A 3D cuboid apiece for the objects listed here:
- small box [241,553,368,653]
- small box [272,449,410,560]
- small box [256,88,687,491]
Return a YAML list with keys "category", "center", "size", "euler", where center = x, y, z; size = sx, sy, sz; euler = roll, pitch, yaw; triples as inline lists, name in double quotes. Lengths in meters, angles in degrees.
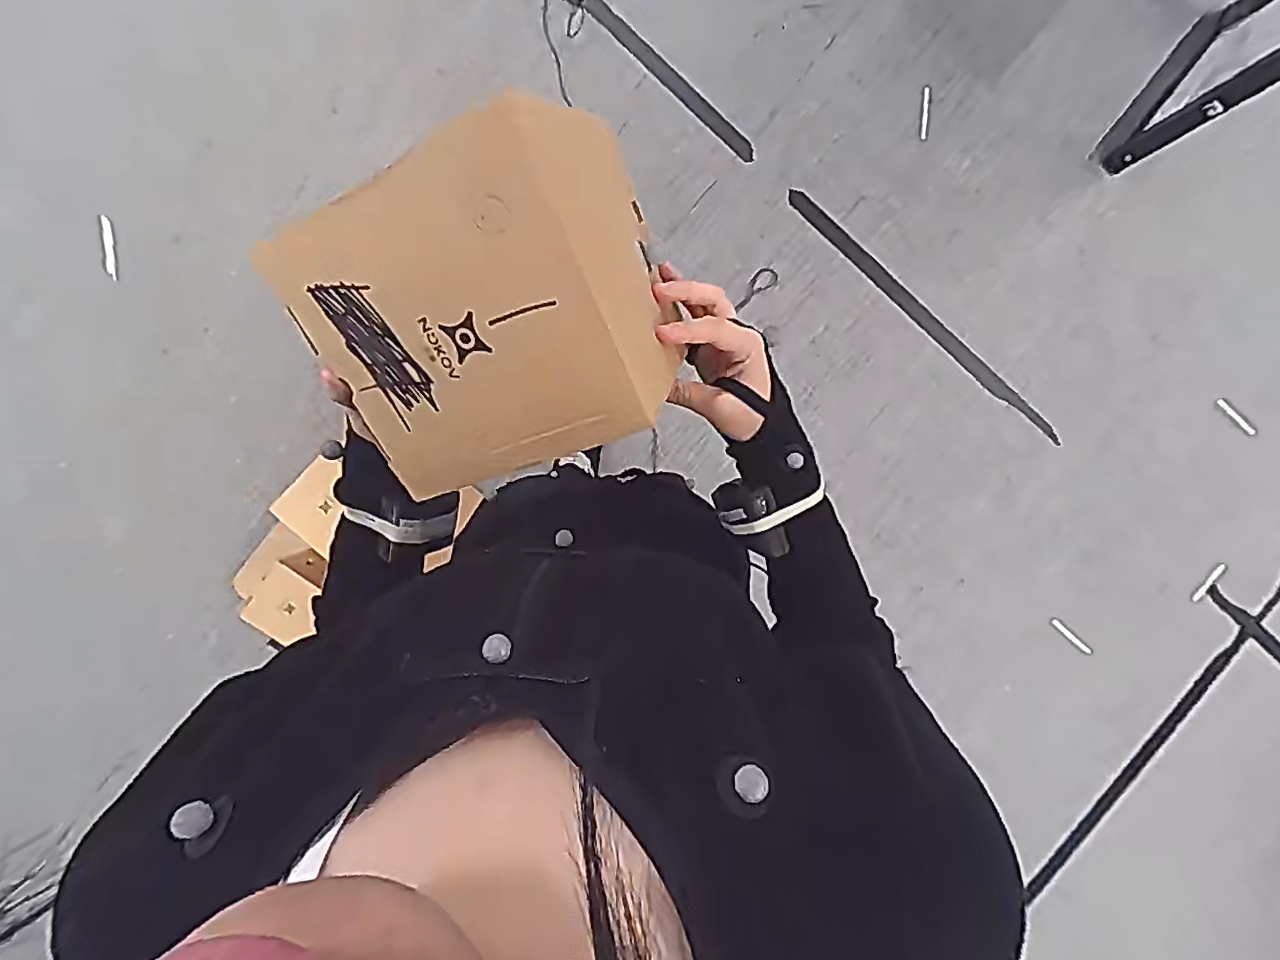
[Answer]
- category: "small box"
  center: [-0.836, 0.300, 1.366]
  size: [0.179, 0.176, 0.168]
  euler: [34, 91, -4]
- category: "small box"
  center: [-0.650, 0.050, 1.202]
  size: [0.168, 0.176, 0.179]
  euler: [43, 88, -4]
- category: "small box"
  center: [-0.083, -0.119, 0.357]
  size: [0.179, 0.176, 0.168]
  euler: [-15, 116, 20]
